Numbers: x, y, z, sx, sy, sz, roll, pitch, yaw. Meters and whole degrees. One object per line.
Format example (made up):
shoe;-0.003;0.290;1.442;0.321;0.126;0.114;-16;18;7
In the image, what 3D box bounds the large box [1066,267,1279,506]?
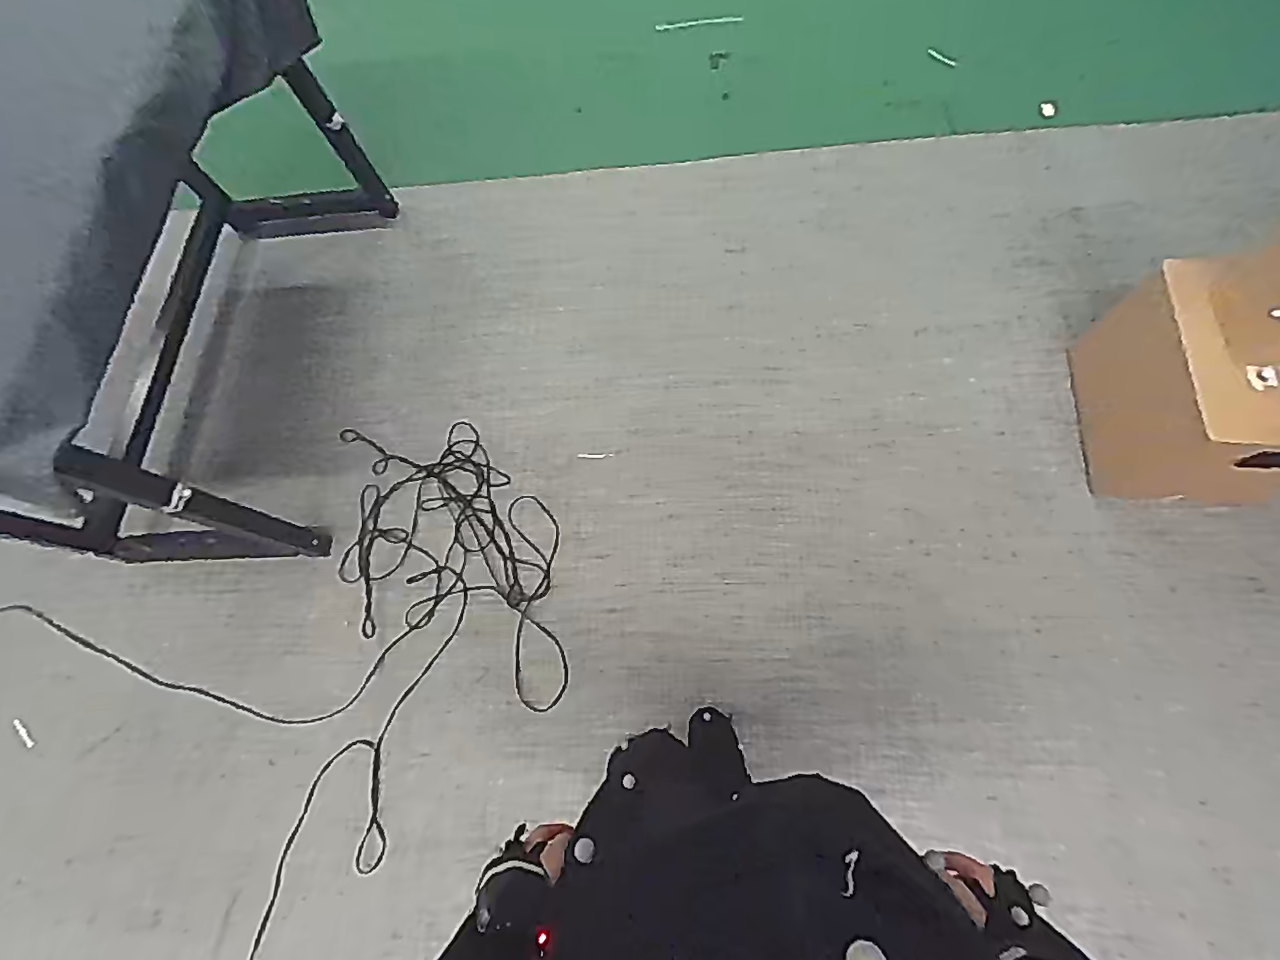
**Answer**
large box;1.189;-0.184;1.145;0.320;0.320;0.408;3;71;8
